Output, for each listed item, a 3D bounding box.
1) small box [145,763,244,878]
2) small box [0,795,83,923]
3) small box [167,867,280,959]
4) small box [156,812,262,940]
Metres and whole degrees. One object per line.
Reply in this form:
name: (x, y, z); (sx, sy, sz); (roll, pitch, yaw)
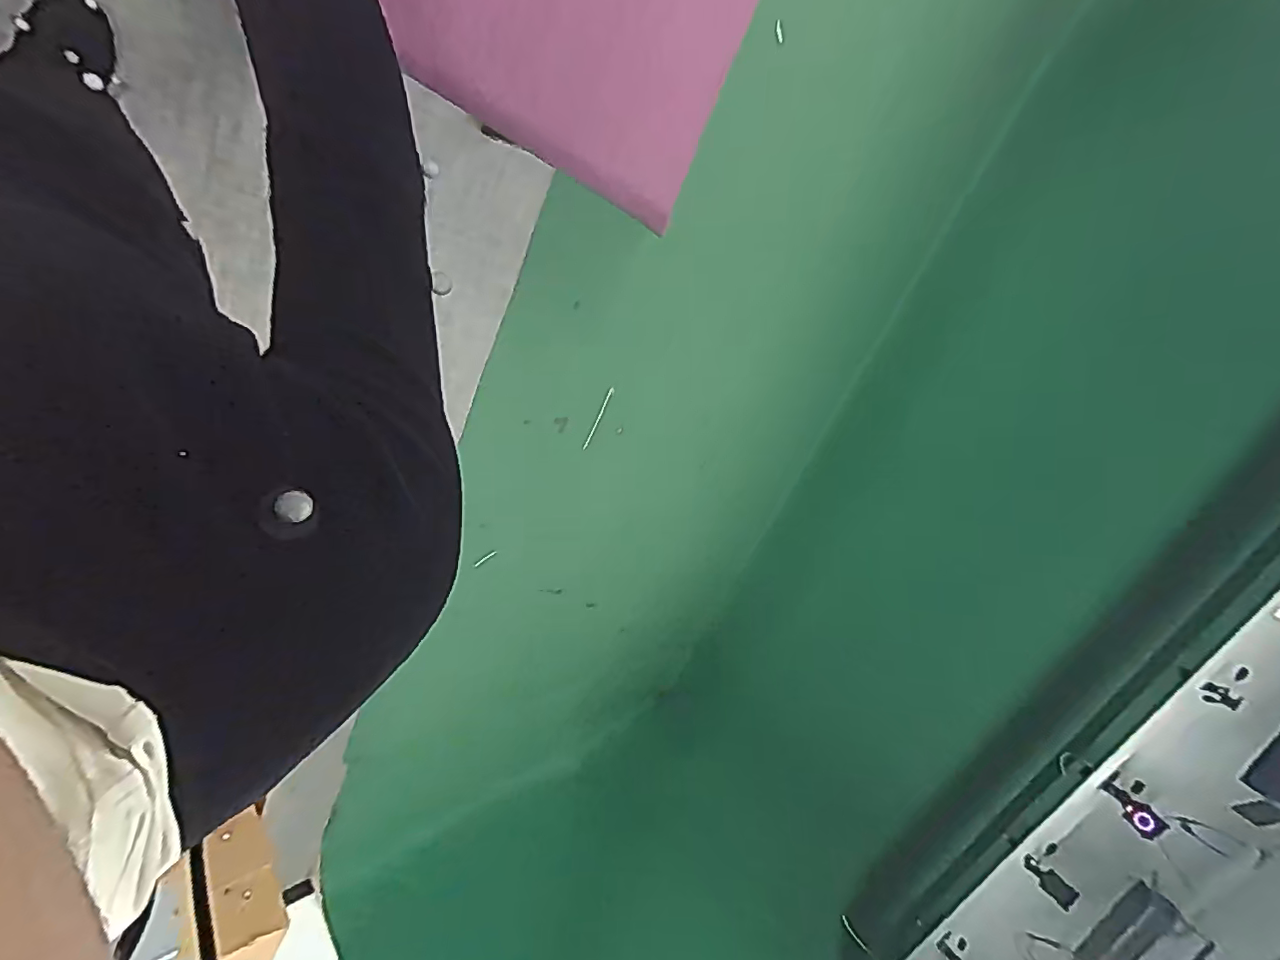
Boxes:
small box: (-1.226, 0.925, 1.483); (0.168, 0.176, 0.179); (4, 119, -54)
small box: (-1.378, 0.840, 1.204); (0.168, 0.176, 0.179); (2, 122, -52)
small box: (-1.012, 1.097, 1.309); (0.168, 0.176, 0.179); (10, 114, -54)
small box: (-1.117, 1.011, 1.397); (0.168, 0.176, 0.179); (8, 116, -55)
